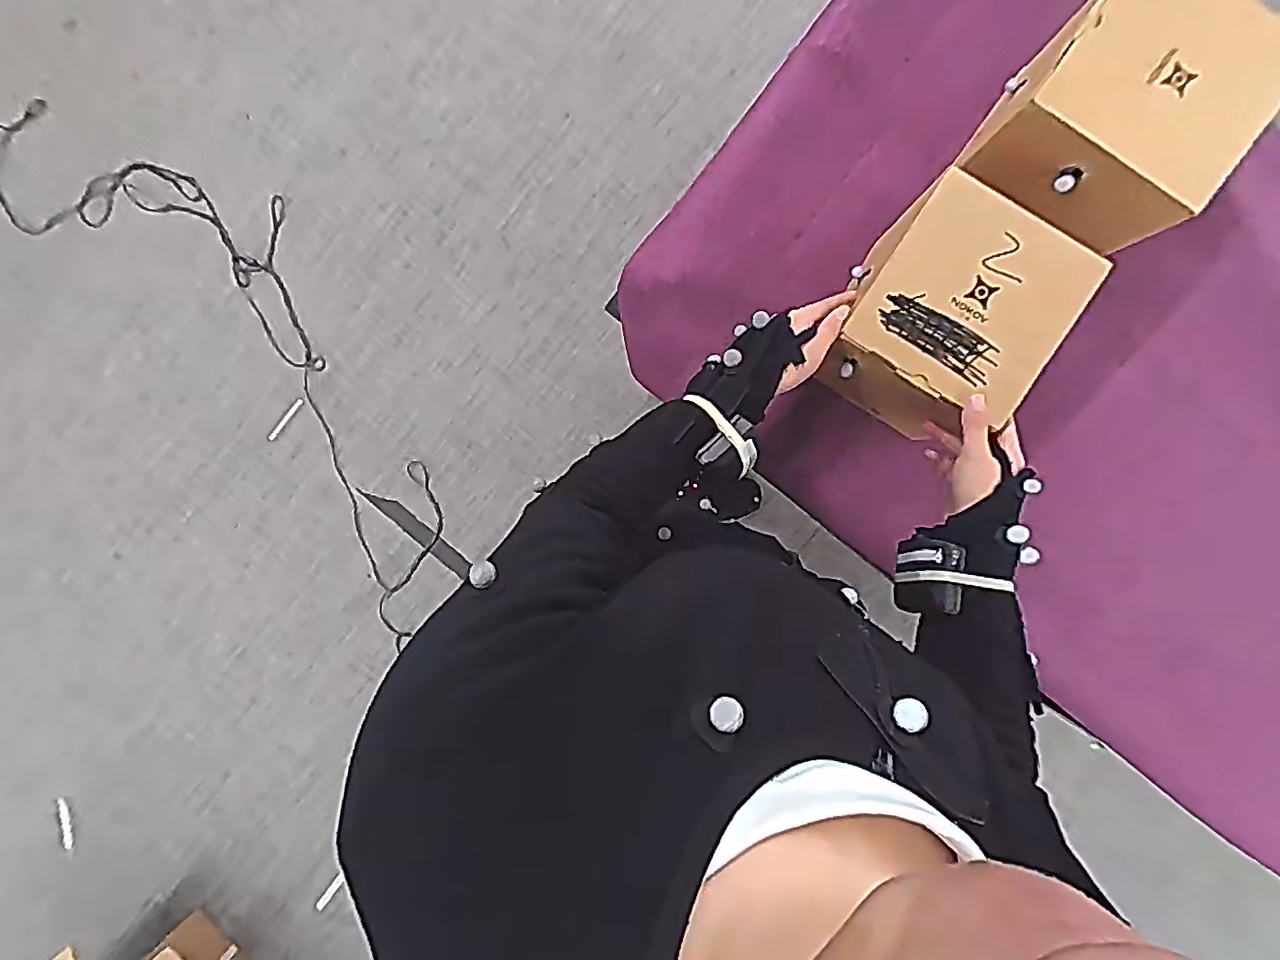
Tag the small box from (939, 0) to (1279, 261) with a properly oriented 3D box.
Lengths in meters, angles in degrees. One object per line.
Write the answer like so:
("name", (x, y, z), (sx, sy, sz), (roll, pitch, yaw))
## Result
("small box", (0.453, -0.348, 0.541), (0.179, 0.176, 0.168), (36, 94, 1))
